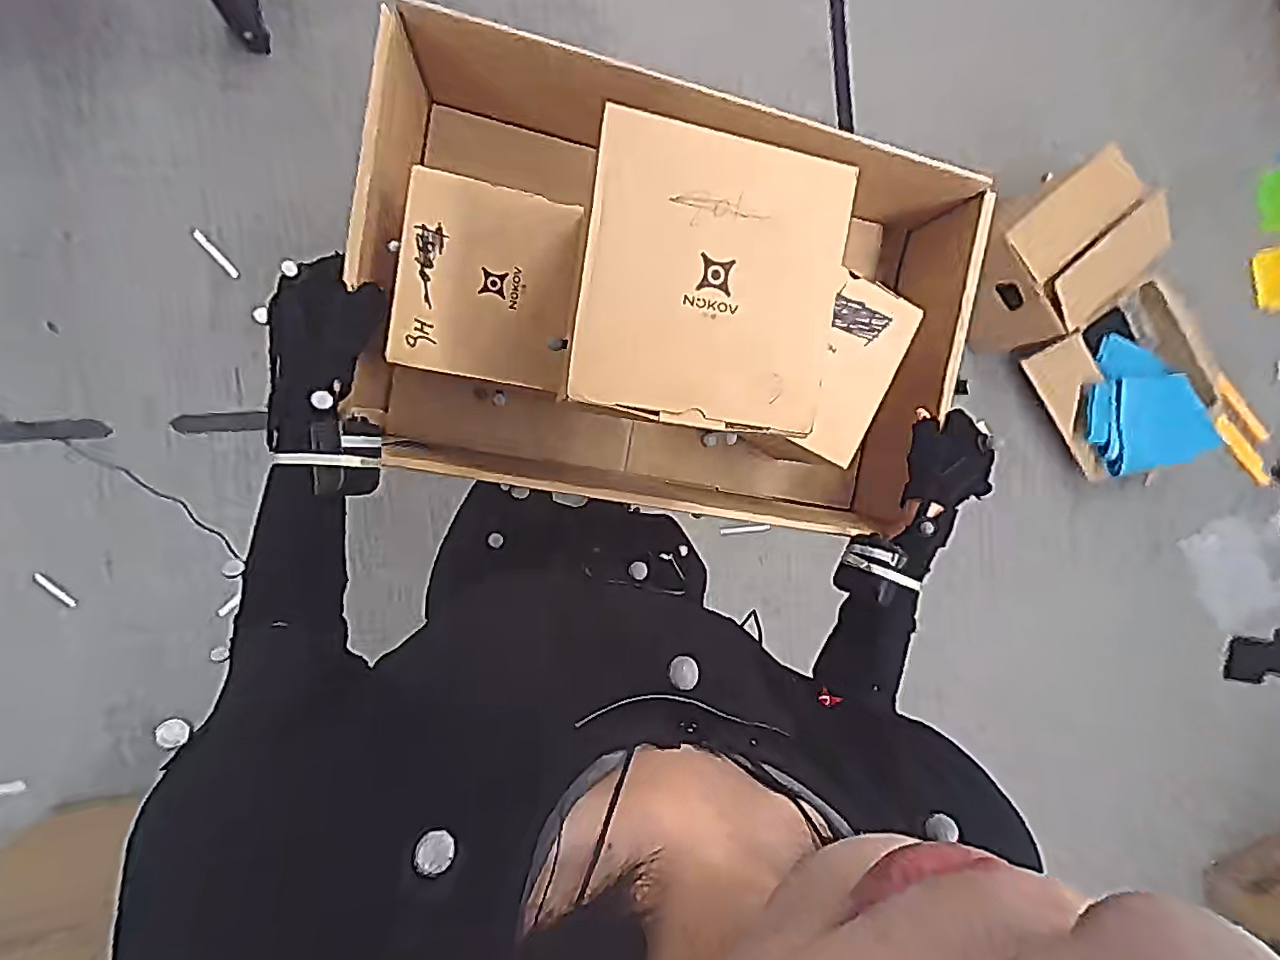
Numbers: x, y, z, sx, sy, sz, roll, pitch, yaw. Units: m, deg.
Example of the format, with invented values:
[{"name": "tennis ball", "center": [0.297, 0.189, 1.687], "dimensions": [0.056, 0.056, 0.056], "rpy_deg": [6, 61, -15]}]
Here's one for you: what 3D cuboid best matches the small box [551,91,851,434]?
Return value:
[{"name": "small box", "center": [0.026, -0.132, 0.402], "dimensions": [0.168, 0.176, 0.179], "rpy_deg": [6, 94, -11]}]
